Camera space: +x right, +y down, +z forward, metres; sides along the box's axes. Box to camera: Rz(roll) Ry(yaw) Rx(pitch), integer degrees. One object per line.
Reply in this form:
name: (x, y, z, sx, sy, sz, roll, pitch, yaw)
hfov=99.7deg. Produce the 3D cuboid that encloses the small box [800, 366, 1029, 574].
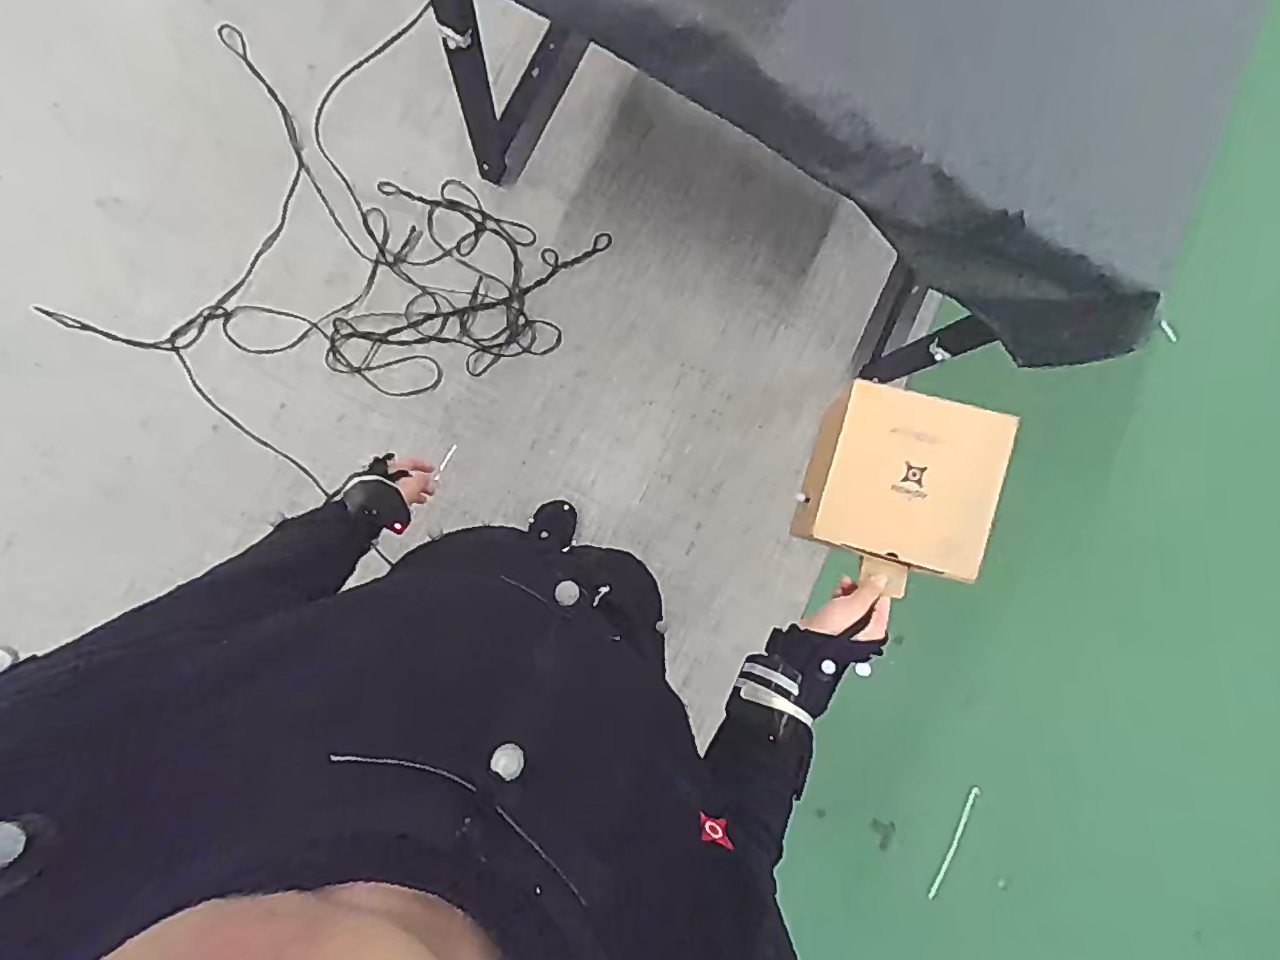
small box: (0.290, -0.007, 0.615, 0.168, 0.176, 0.179, 15, 88, 8)
